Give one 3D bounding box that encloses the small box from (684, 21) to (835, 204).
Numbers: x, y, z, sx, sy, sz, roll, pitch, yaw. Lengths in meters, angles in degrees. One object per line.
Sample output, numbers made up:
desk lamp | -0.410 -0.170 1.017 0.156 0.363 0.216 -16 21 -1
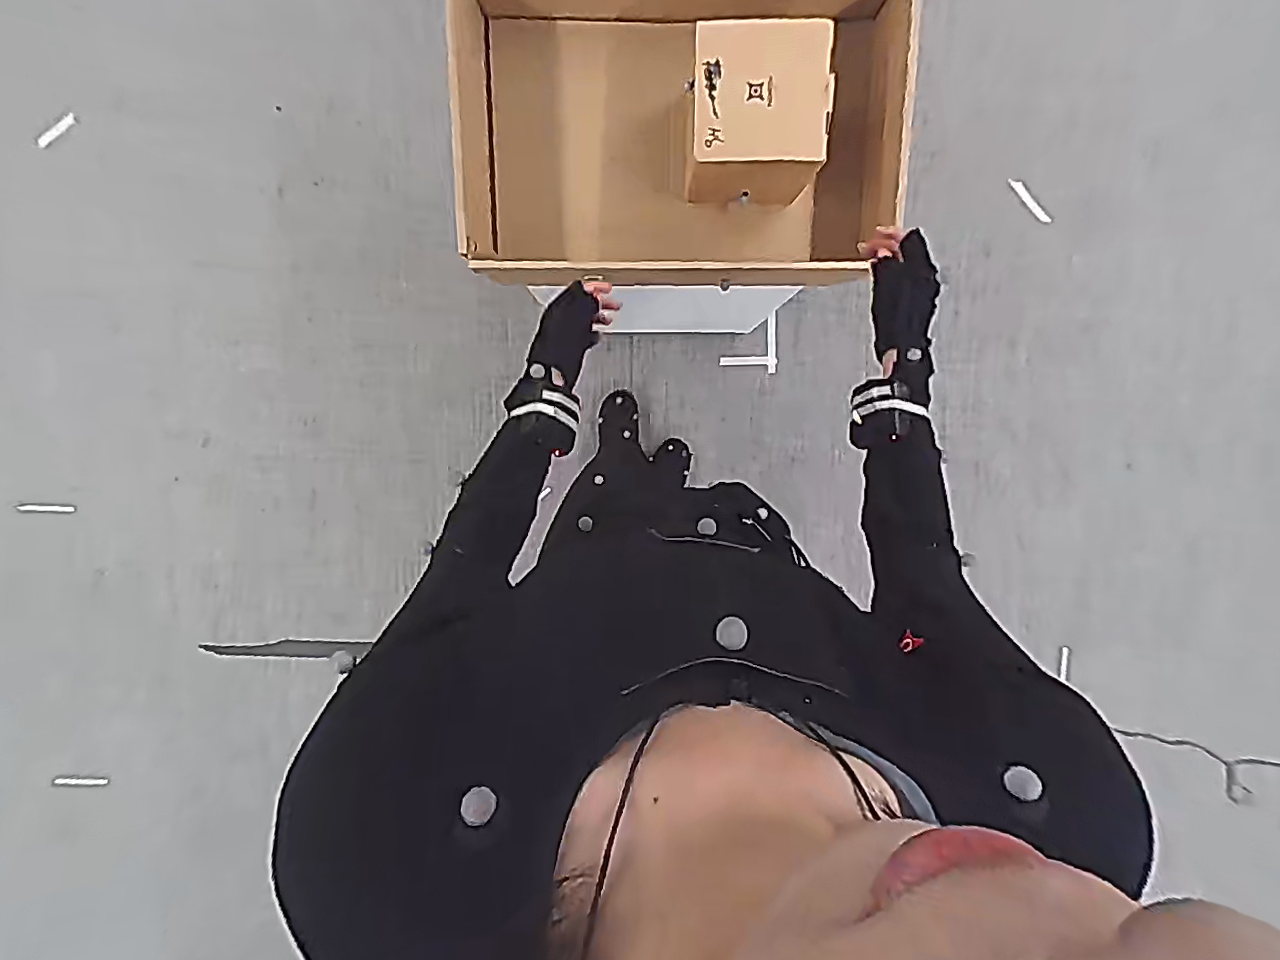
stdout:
small box | 0.159 -0.509 0.773 0.179 0.176 0.168 0 100 1
